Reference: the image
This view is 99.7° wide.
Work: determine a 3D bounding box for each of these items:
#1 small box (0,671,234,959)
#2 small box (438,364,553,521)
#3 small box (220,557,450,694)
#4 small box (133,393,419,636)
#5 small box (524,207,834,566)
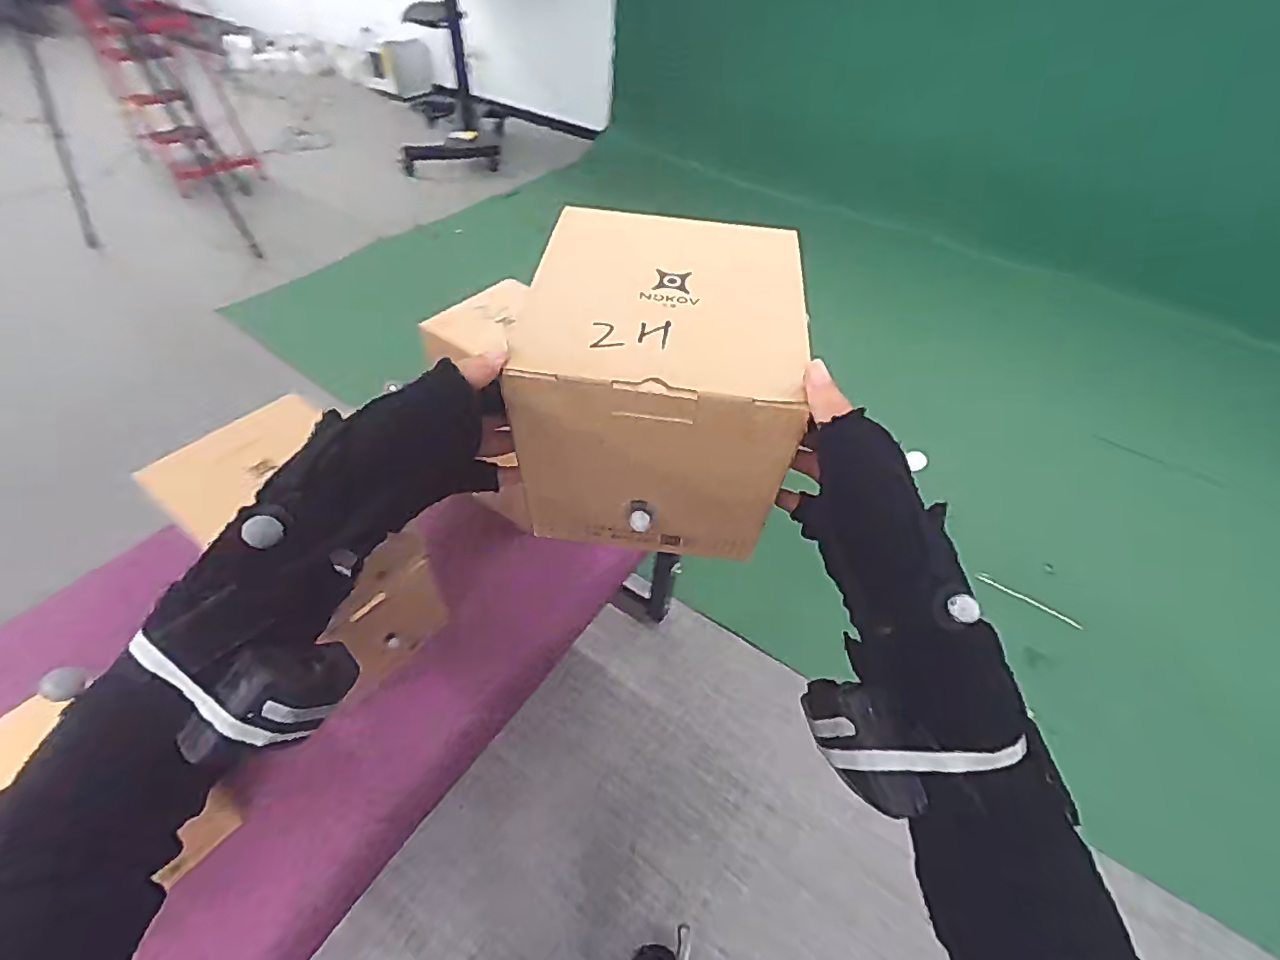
[{"bbox_3d":[-0.563,0.334,0.538,0.179,0.176,0.168,32,54,20],"label":"small box"},{"bbox_3d":[-0.202,-0.056,0.905,0.179,0.176,0.168,33,53,21],"label":"small box"},{"bbox_3d":[-0.383,0.156,0.713,0.179,0.176,0.168,31,58,21],"label":"small box"},{"bbox_3d":[-0.373,0.043,0.590,0.179,0.176,0.168,31,53,20],"label":"small box"},{"bbox_3d":[0.027,-0.063,0.389,0.168,0.176,0.179,8,54,3],"label":"small box"}]
